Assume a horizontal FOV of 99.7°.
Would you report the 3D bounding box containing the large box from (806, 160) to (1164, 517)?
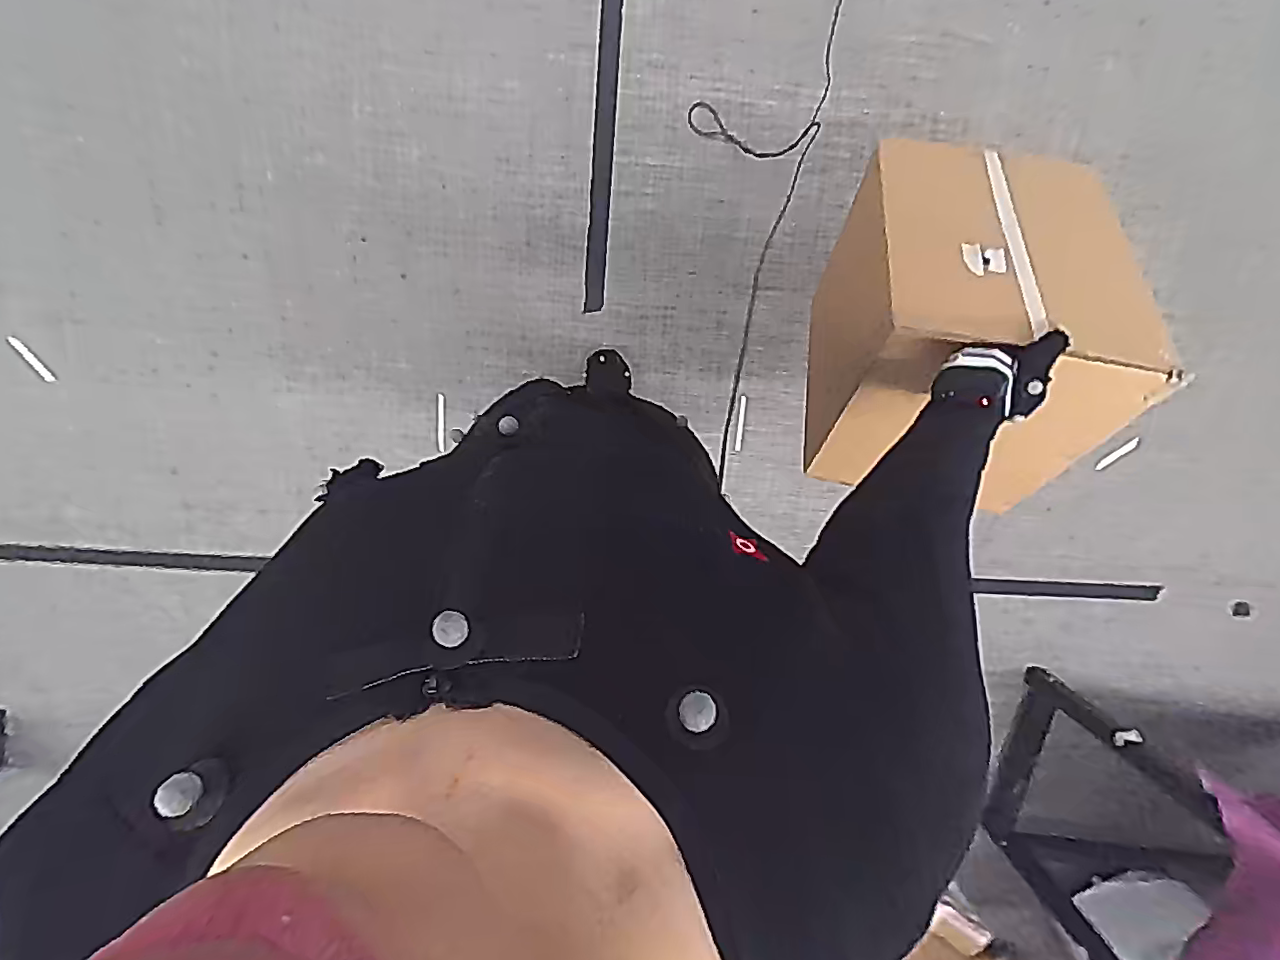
[{"bbox_3d":[0.457,-0.207,0.832,0.320,0.320,0.408,11,60,2],"label":"large box"}]
